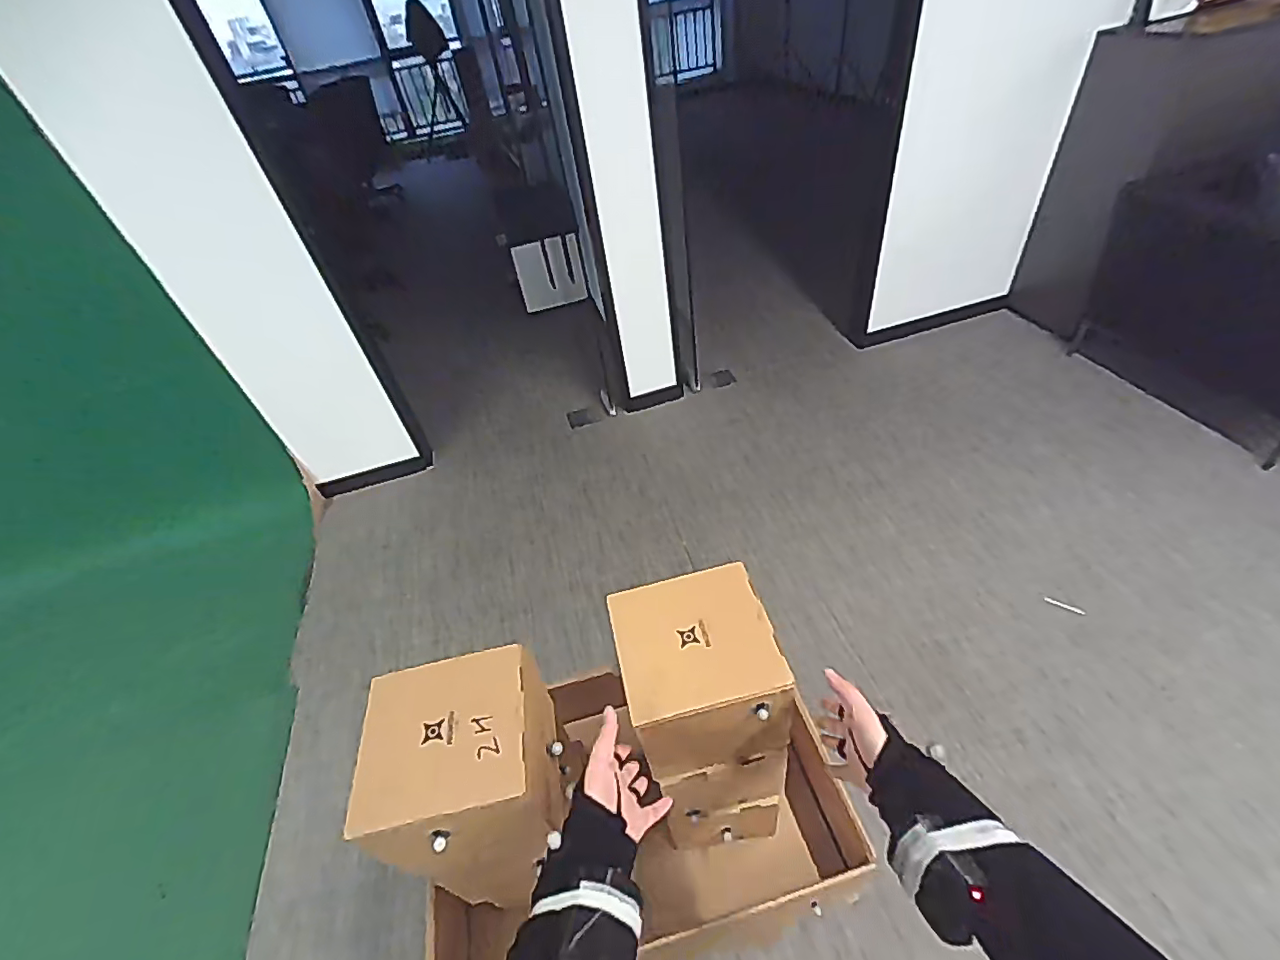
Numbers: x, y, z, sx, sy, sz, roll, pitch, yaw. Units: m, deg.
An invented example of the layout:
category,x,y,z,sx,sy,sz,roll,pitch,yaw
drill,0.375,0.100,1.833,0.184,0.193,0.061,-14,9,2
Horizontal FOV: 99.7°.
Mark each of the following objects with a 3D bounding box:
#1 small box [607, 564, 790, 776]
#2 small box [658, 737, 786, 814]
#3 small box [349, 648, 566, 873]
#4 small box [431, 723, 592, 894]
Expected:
category,x,y,z,sx,sy,sz,roll,pitch,yaw
small box,0.071,0.235,0.663,0.179,0.176,0.168,-15,43,-3
small box,0.101,0.352,0.773,0.168,0.176,0.179,-14,42,-2
small box,-0.195,0.326,0.626,0.179,0.176,0.168,-13,44,-2
small box,-0.171,0.439,0.744,0.168,0.176,0.179,-15,43,-4
